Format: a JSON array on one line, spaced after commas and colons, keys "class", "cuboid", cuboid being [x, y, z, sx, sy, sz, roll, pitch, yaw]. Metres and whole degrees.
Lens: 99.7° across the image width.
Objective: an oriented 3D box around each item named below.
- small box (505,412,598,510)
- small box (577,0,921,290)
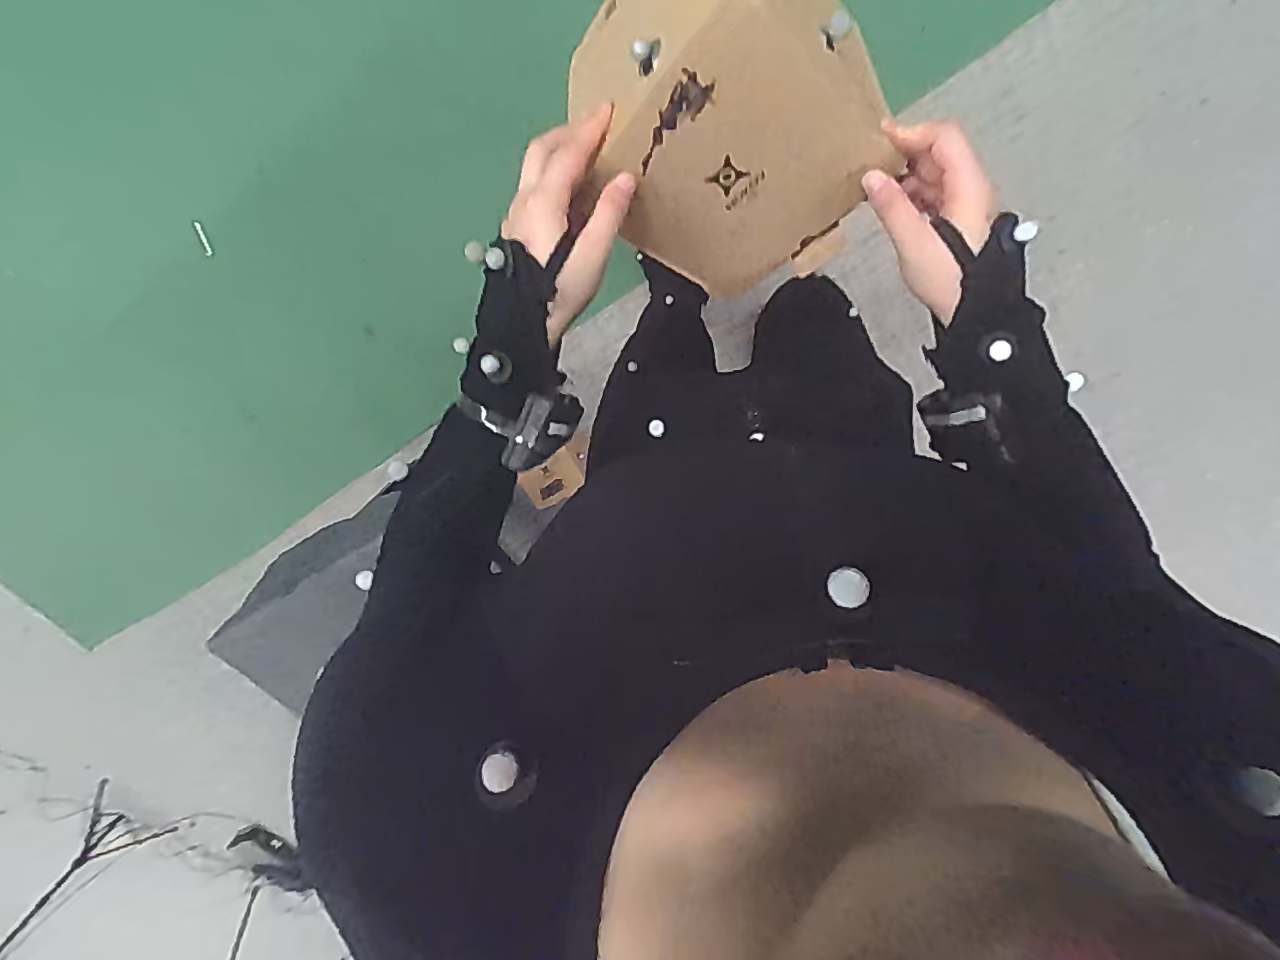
[{"class": "small box", "cuboid": [-0.230, -0.055, 1.460, 0.168, 0.176, 0.179, -24, 113, 16]}, {"class": "small box", "cuboid": [0.070, -0.284, 0.397, 0.179, 0.176, 0.168, 16, 149, -36]}]
